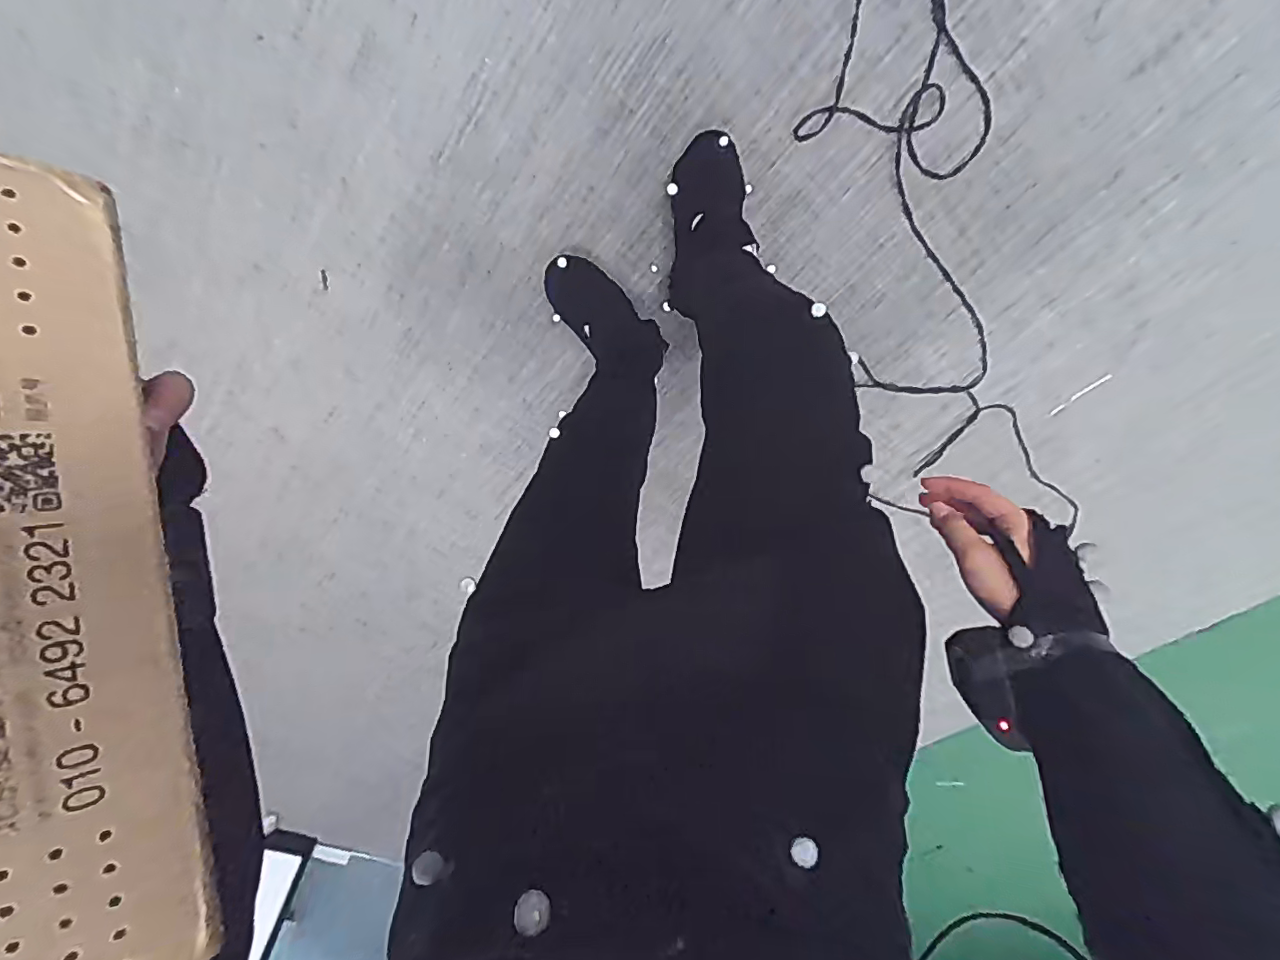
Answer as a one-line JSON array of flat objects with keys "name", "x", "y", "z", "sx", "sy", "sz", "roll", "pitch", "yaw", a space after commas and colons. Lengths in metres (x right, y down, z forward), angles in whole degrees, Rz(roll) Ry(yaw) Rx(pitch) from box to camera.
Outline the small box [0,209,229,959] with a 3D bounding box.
[{"name": "small box", "x": -0.213, "y": 0.038, "z": 0.129, "sx": 0.176, "sy": 0.168, "sz": 0.179, "roll": -9, "pitch": -179, "yaw": -41}]
